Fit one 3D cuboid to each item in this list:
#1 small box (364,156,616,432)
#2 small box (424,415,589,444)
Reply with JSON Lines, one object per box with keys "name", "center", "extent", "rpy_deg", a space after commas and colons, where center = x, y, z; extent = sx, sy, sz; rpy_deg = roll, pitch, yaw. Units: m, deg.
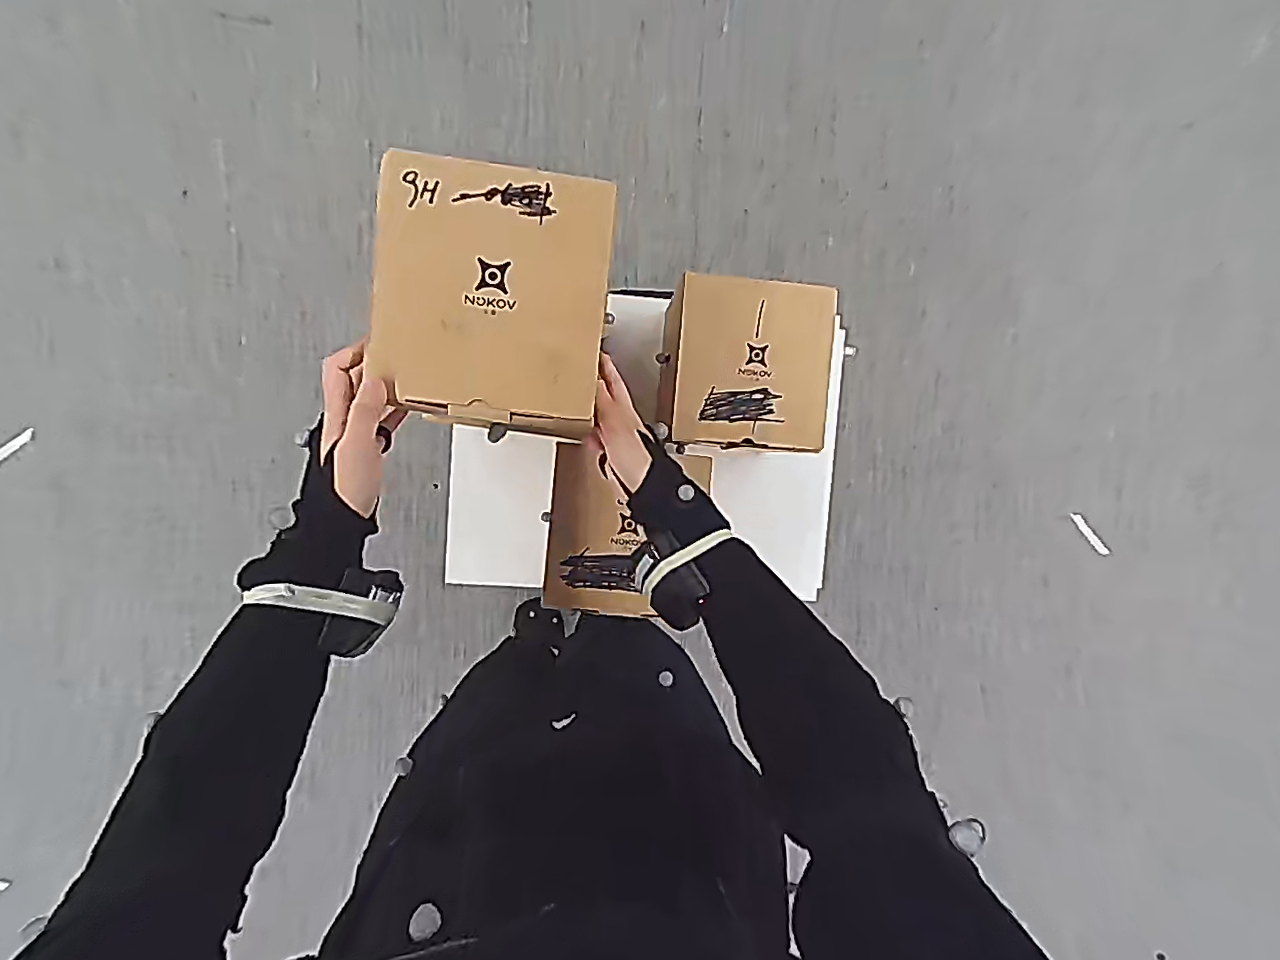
{"name": "small box", "center": [-0.112, -0.135, 0.464], "extent": [0.168, 0.176, 0.179], "rpy_deg": [6, 93, -5]}
{"name": "small box", "center": [-0.134, -0.137, 0.627], "extent": [0.168, 0.176, 0.179], "rpy_deg": [7, 92, -5]}
